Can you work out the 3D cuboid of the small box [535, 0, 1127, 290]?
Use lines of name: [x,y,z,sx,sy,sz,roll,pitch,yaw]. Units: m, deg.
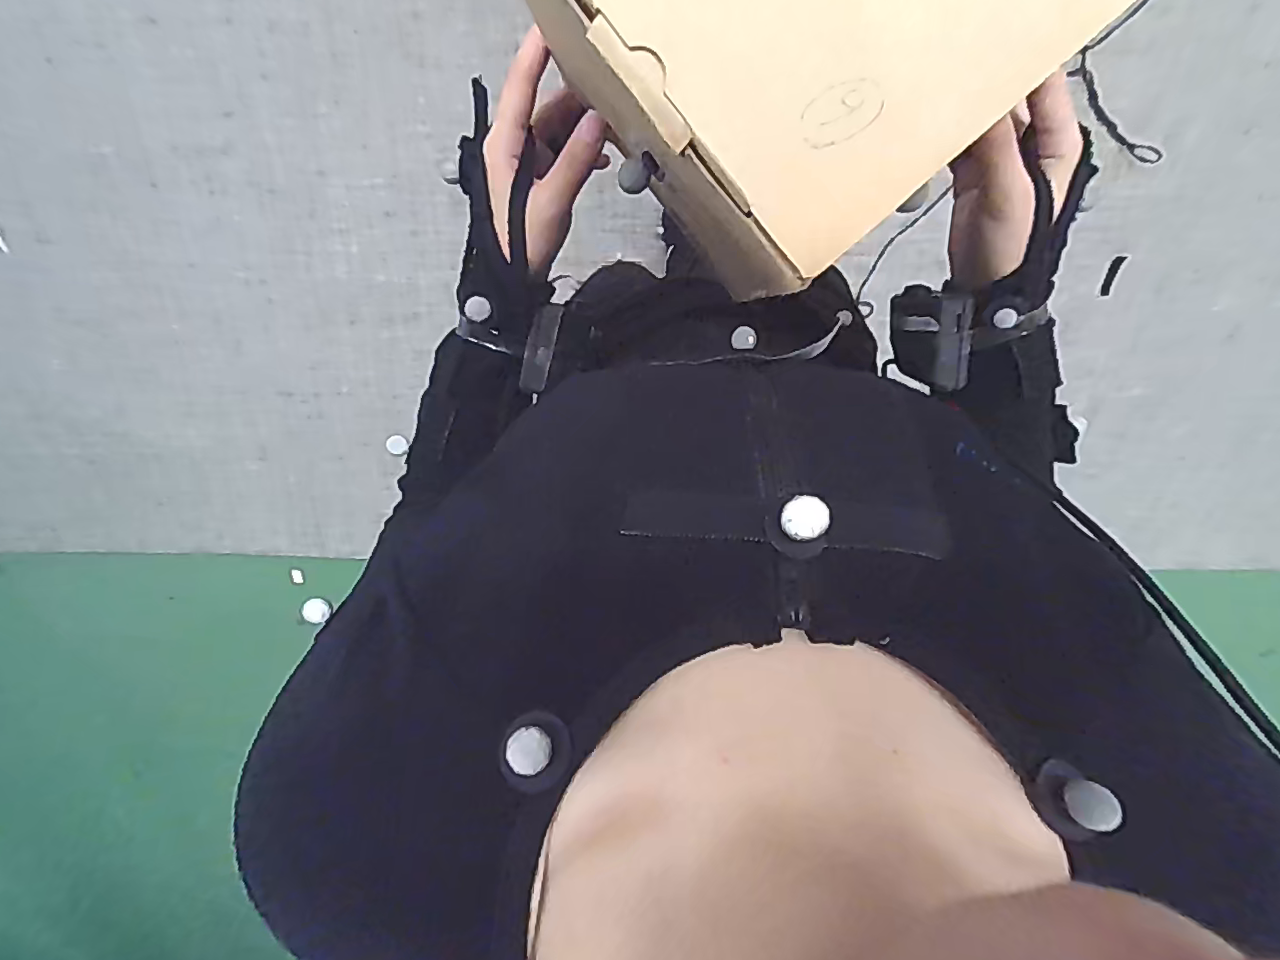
small box: [0.068,-0.200,0.226,0.179,0.176,0.168,-39,100,14]
